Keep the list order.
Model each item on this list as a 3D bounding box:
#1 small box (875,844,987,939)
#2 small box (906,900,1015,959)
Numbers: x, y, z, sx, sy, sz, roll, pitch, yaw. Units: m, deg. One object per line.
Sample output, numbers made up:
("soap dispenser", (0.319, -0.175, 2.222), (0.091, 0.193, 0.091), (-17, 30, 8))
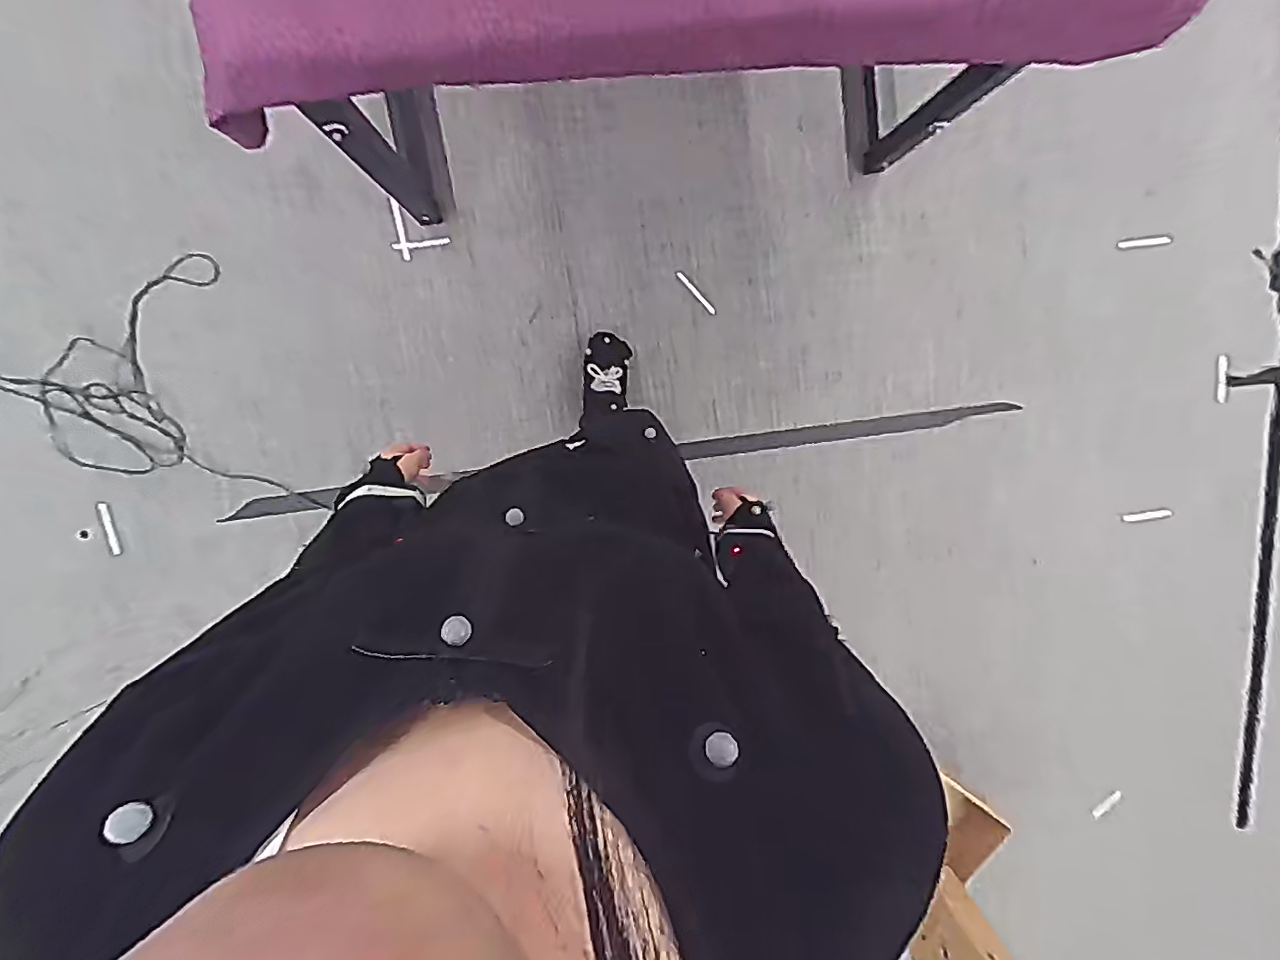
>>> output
("small box", (0.795, 1.161, 1.499), (0.179, 0.176, 0.168), (33, 97, -11))
("small box", (0.806, 1.195, 1.338), (0.179, 0.176, 0.168), (33, 98, -10))
